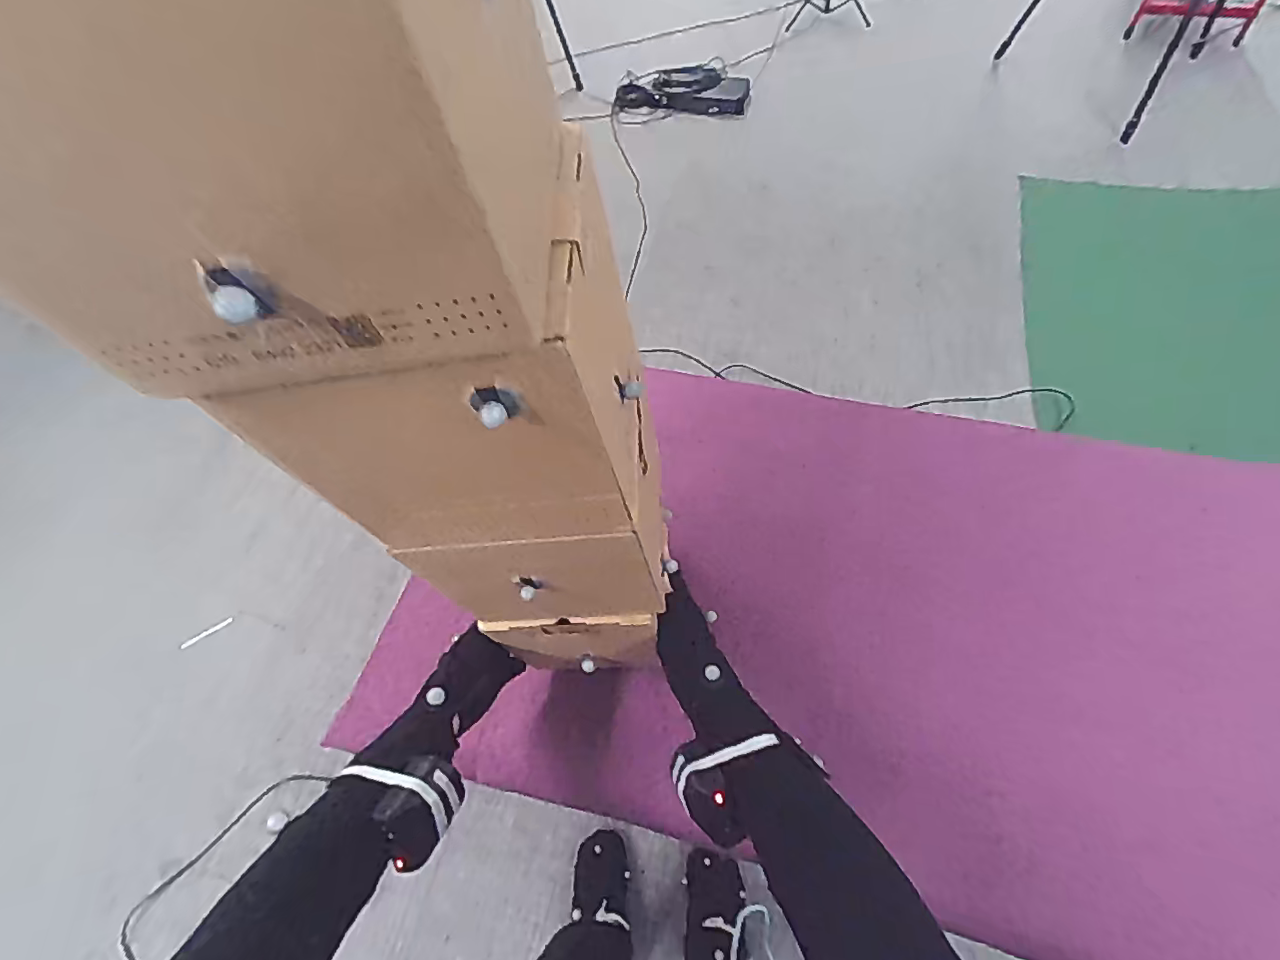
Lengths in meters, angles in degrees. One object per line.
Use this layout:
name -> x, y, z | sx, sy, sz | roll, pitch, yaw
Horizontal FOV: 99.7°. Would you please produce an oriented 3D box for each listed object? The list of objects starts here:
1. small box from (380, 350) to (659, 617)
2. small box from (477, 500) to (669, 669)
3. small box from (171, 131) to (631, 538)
small box -> -0.078, 0.011, 0.465 | 0.179, 0.176, 0.168 | -2, 56, 9
small box -> -0.059, 0.101, 0.604 | 0.168, 0.176, 0.179 | -4, 58, 8
small box -> -0.106, -0.073, 0.332 | 0.179, 0.176, 0.168 | -5, 57, 7
